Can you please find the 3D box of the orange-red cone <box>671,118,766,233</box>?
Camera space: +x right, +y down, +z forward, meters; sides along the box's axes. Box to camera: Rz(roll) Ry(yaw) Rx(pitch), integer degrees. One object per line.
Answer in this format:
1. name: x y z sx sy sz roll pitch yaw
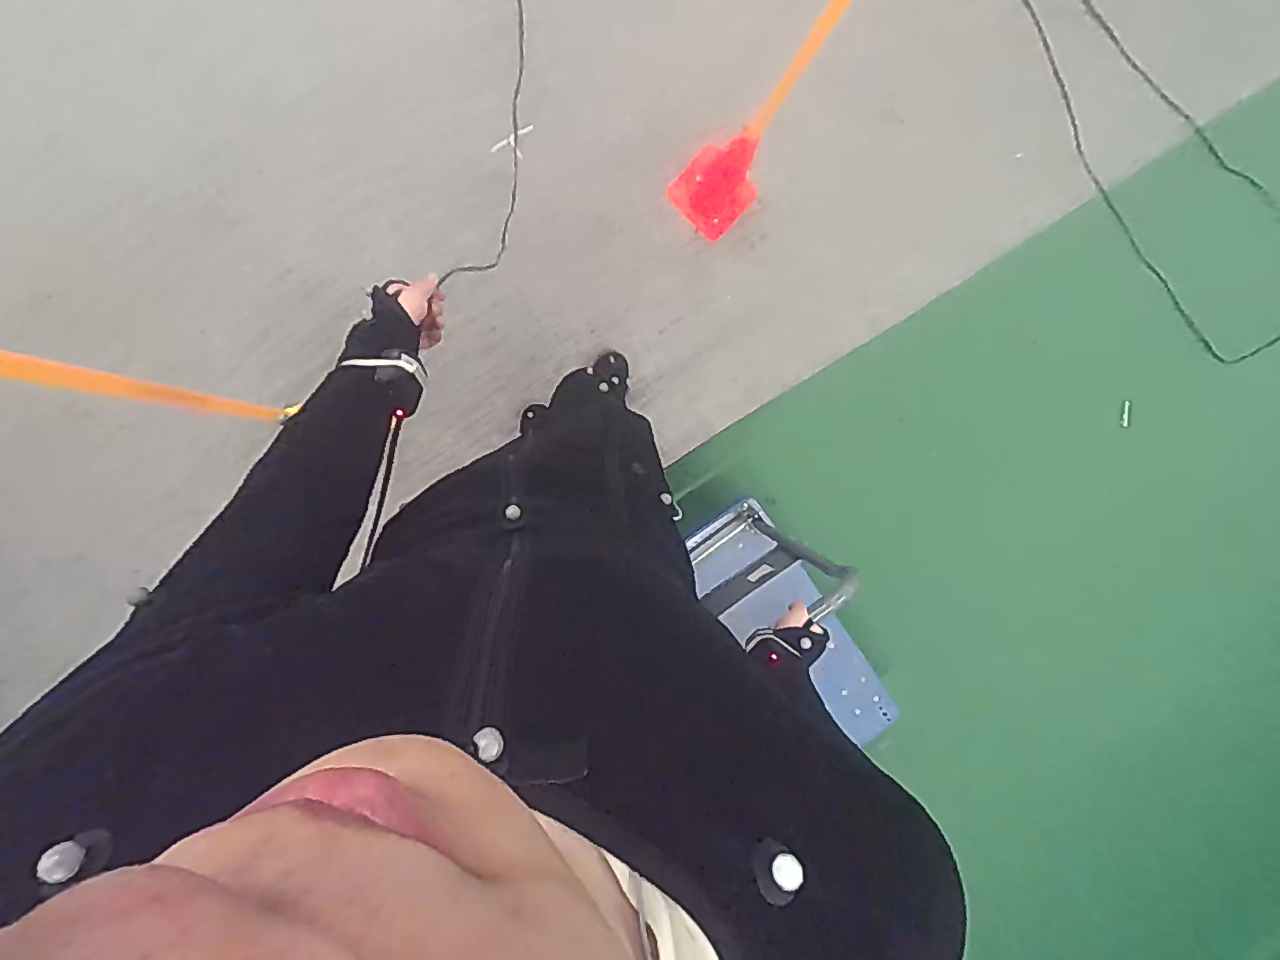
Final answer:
1. orange-red cone: 0.234 -0.801 1.352 0.198 0.360 0.199 43 90 -12
